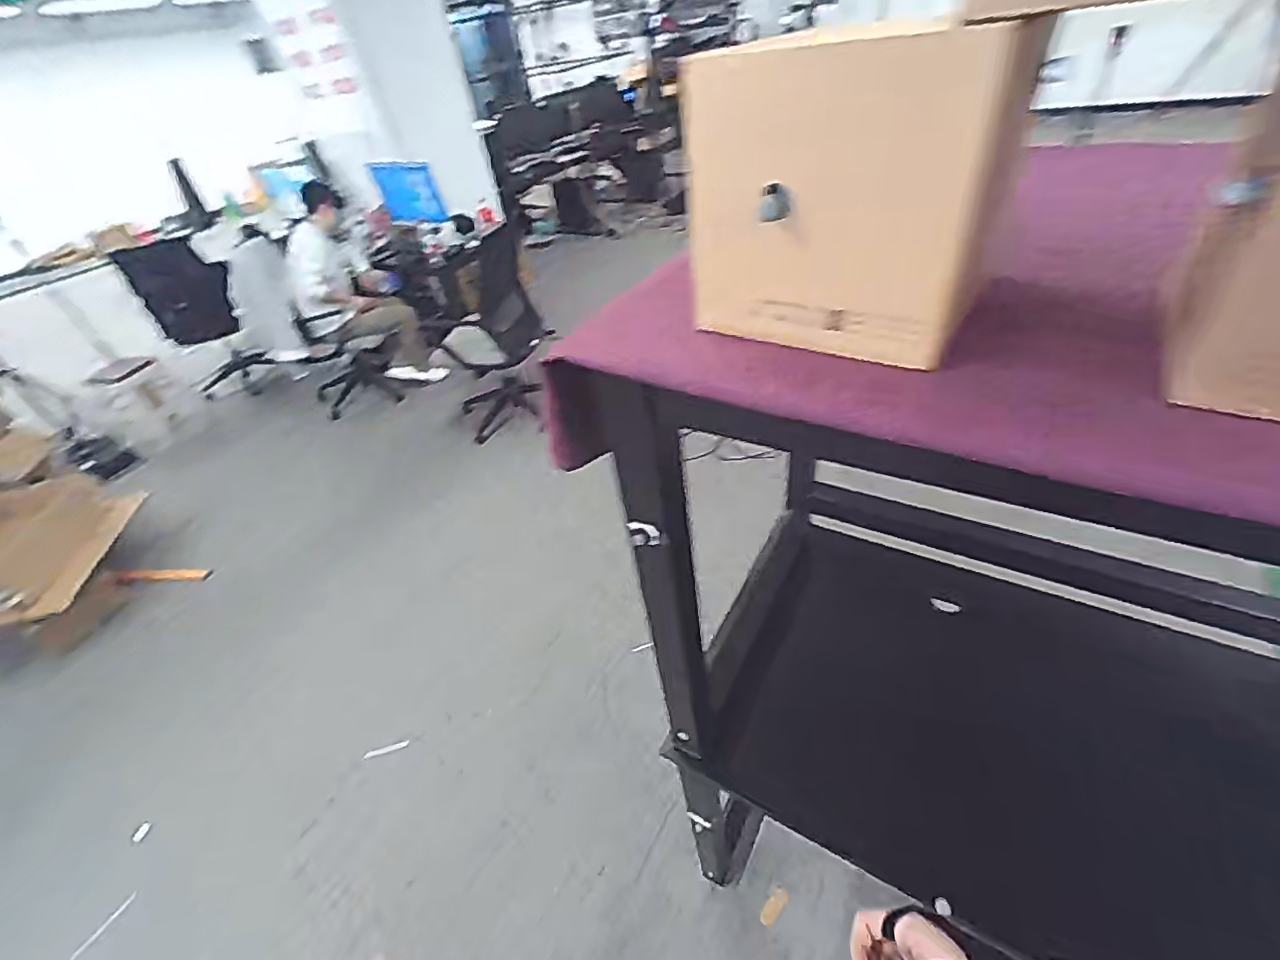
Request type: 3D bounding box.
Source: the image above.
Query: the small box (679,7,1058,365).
[{"bbox_3d":[0.147,-0.195,0.363,0.168,0.176,0.179,20,47,31],"label":"small box"}]
